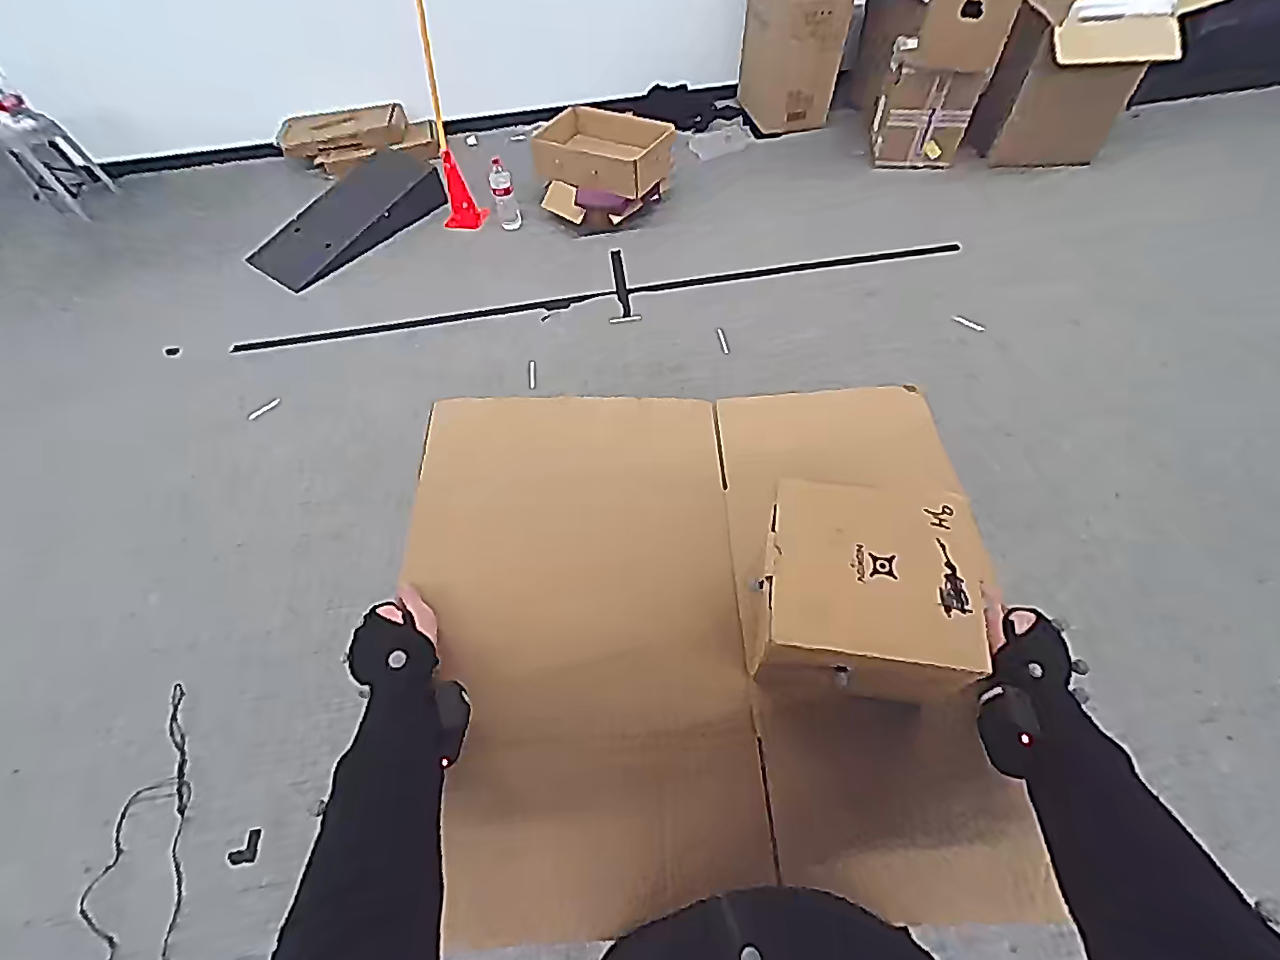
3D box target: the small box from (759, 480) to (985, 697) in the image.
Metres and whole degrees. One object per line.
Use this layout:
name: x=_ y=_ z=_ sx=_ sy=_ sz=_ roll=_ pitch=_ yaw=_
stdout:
small box: x=0.218 y=0.117 z=0.558 sx=0.179 sy=0.176 sz=0.168 roll=5 pitch=60 yaw=11
